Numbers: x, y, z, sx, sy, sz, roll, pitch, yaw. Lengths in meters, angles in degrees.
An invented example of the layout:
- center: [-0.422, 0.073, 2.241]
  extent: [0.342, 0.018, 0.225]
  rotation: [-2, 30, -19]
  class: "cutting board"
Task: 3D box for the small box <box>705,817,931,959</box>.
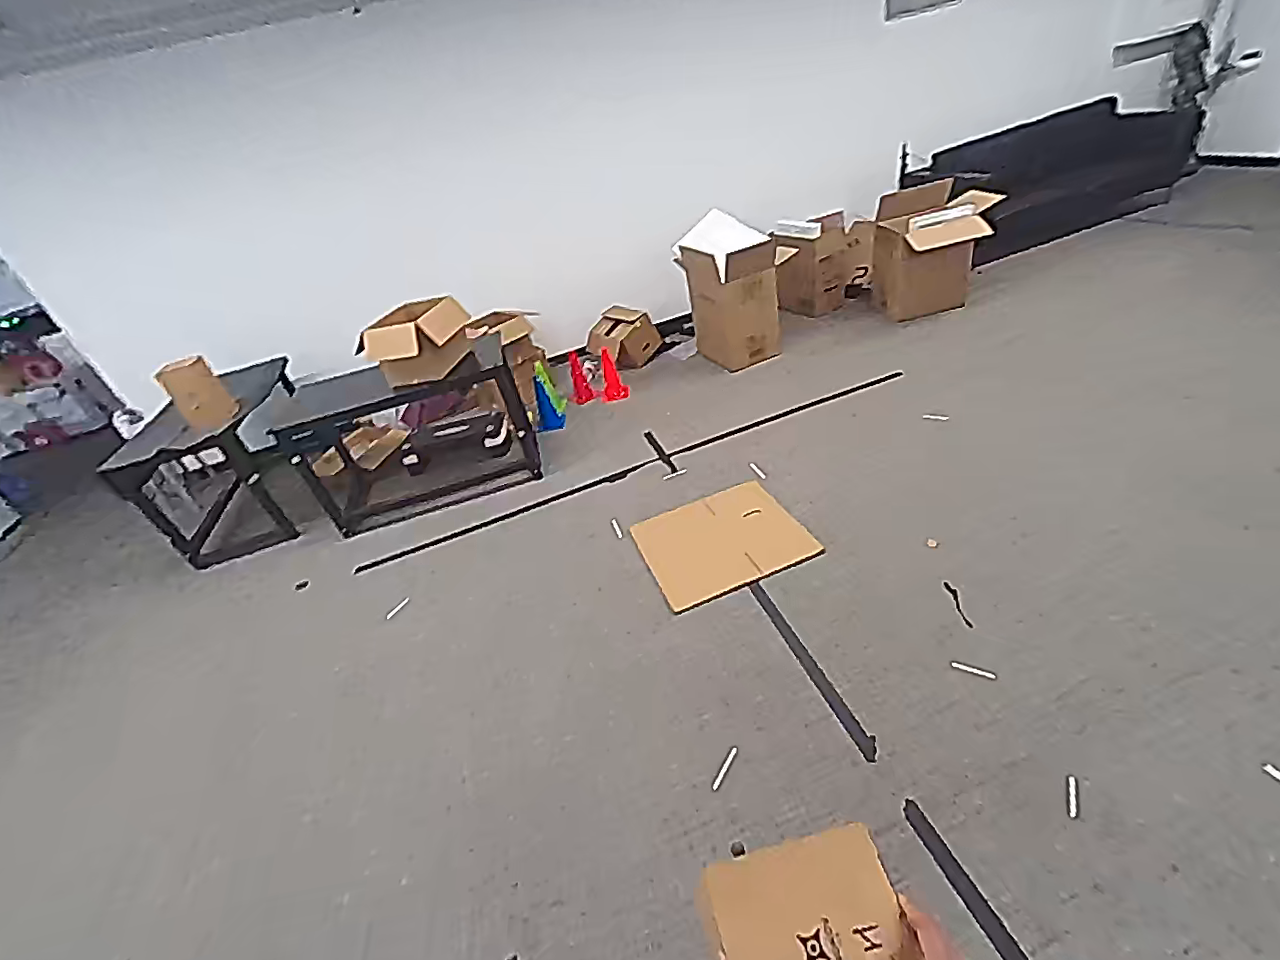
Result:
- center: [0.169, 0.473, 0.548]
  extent: [0.179, 0.176, 0.168]
  rotation: [-10, 47, -8]
  class: "small box"
